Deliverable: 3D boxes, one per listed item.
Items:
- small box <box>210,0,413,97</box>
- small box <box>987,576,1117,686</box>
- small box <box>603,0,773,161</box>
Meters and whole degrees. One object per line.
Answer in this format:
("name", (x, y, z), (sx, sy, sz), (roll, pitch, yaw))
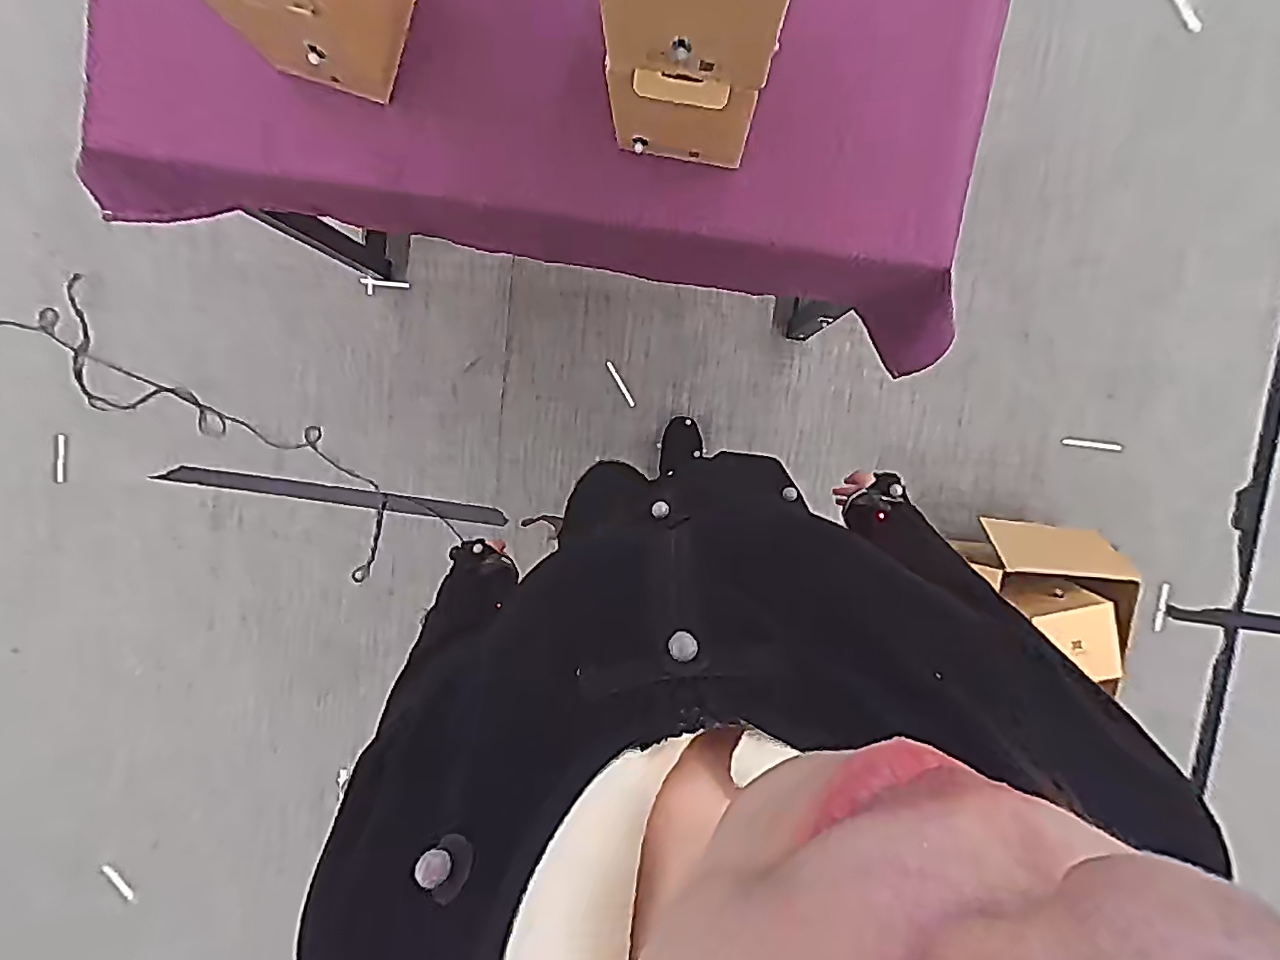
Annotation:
("small box", (-0.394, -0.607, 0.641), (0.168, 0.176, 0.179), (19, 96, -1))
("small box", (0.926, 0.332, 1.230), (0.168, 0.176, 0.179), (-14, 99, 6))
("small box", (0.060, -0.509, 0.632), (0.168, 0.176, 0.179), (11, 95, 1))
